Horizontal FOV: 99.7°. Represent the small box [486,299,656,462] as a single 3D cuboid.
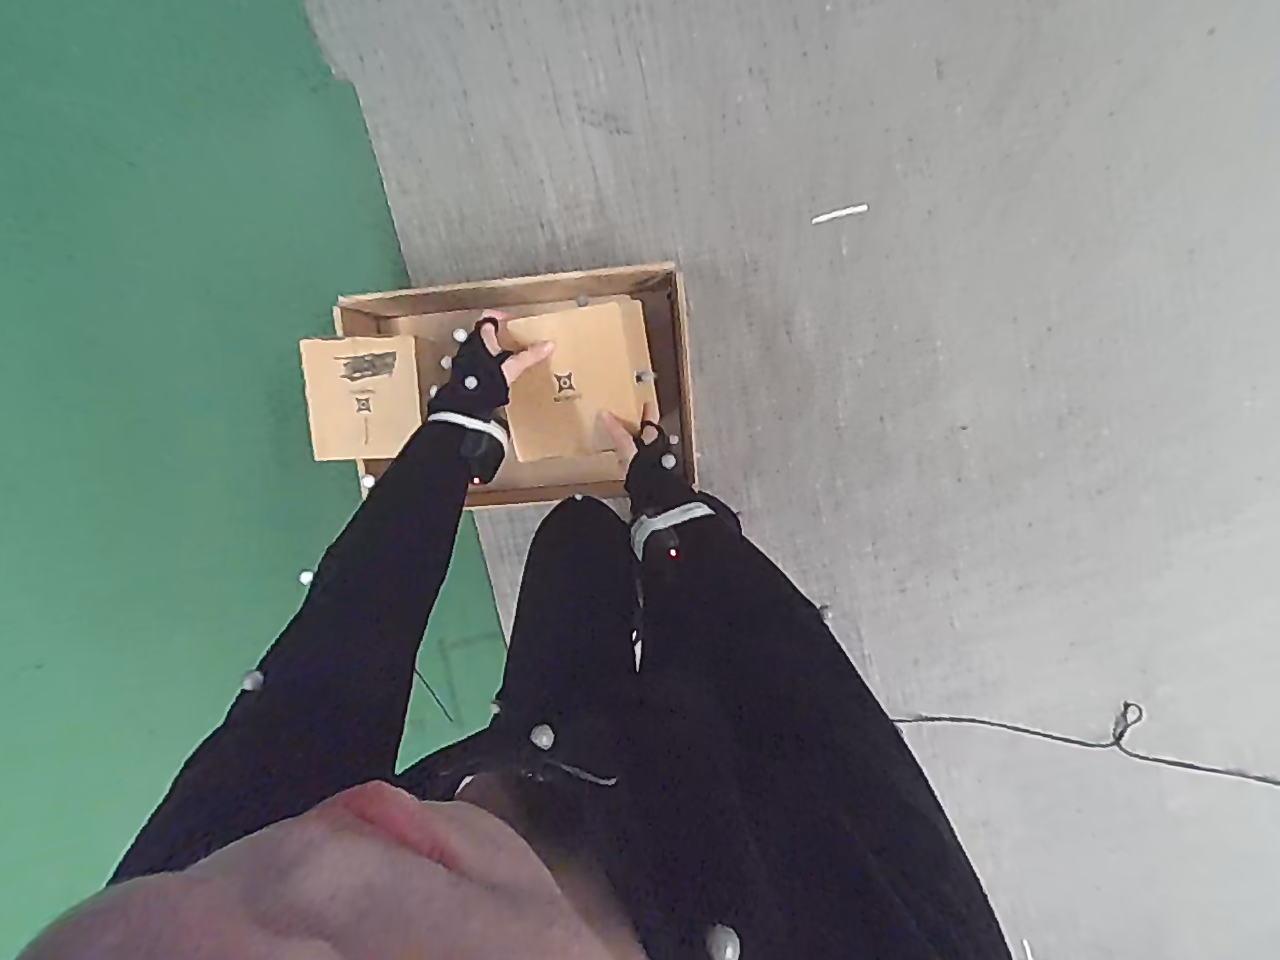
[{"bbox_3d":[-0.077,-0.138,0.715,0.168,0.176,0.179,-6,110,11],"label":"small box"}]
